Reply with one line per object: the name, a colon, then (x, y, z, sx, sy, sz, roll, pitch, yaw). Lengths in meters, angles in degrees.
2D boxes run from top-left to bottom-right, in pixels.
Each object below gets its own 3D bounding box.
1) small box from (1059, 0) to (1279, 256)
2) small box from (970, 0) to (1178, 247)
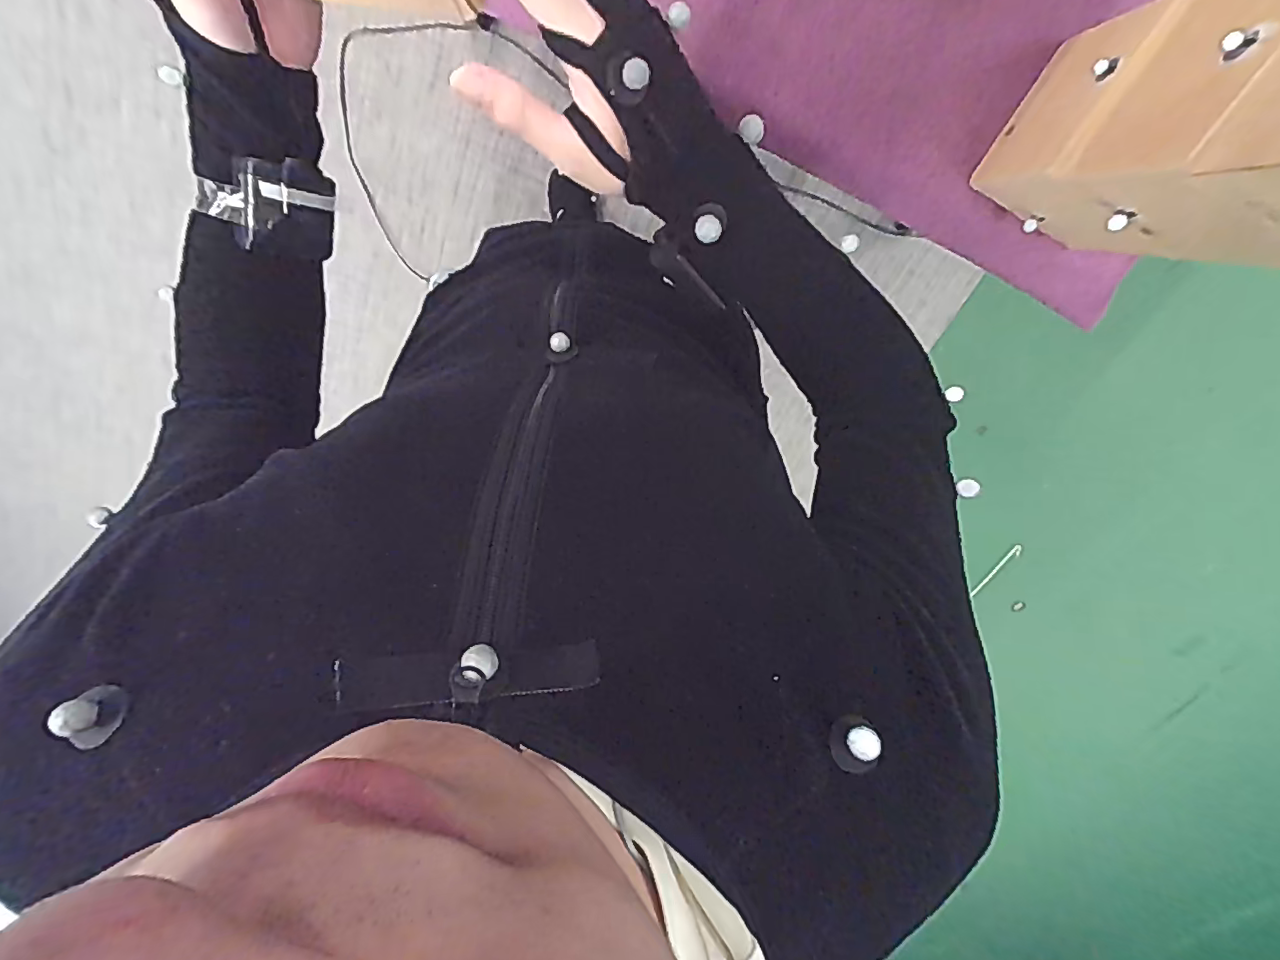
small box: (0.517, -0.312, 0.452, 0.168, 0.176, 0.179, 26, 116, -8)
small box: (0.523, -0.385, 0.598, 0.179, 0.176, 0.168, 25, 115, -10)
